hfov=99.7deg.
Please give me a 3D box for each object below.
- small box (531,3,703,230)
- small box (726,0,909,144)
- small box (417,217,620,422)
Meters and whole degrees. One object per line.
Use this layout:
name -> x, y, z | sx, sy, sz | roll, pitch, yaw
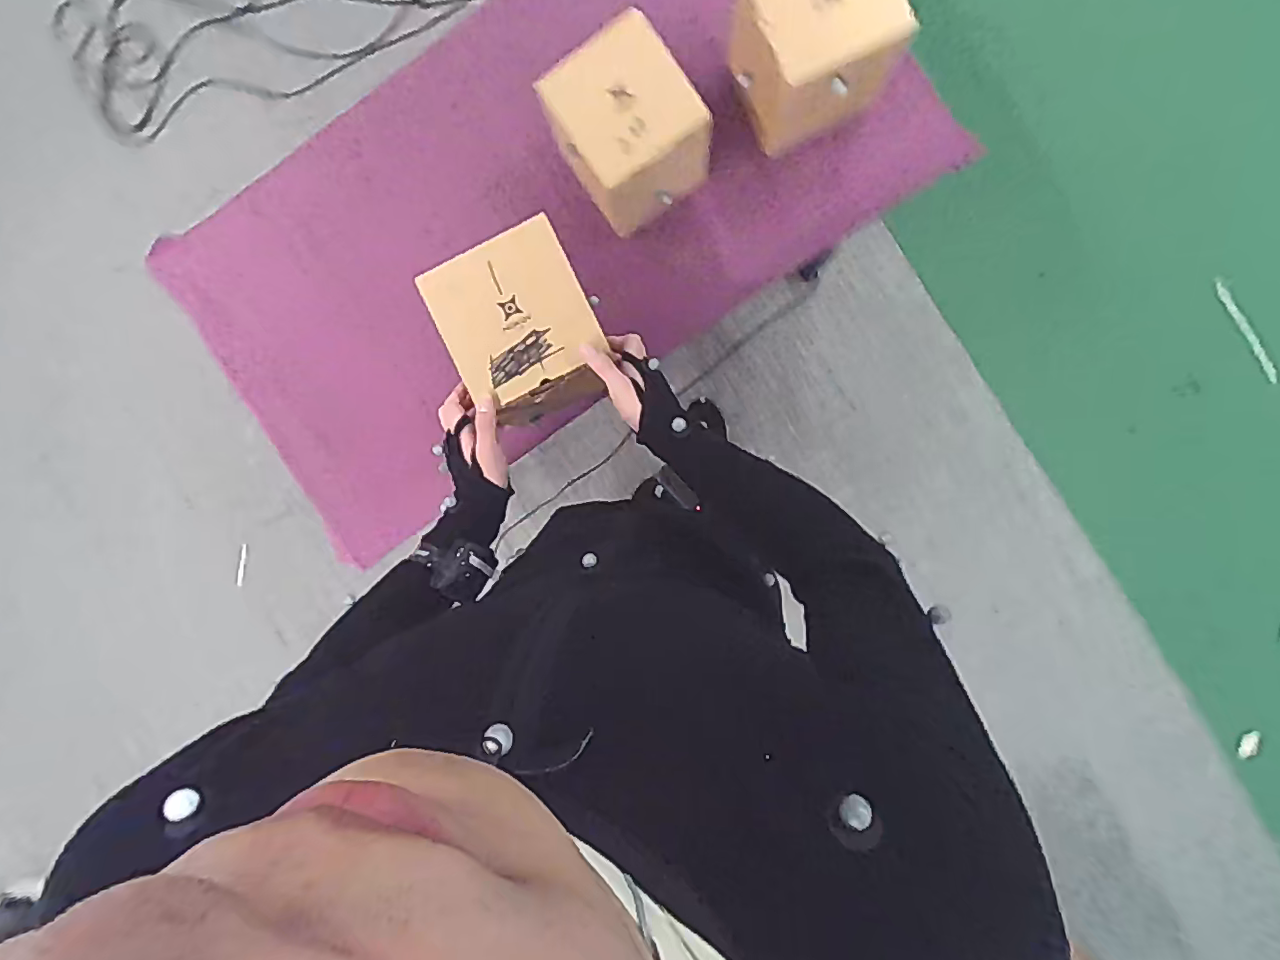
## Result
small box -> -0.026, -0.506, 0.783 | 0.168, 0.176, 0.179 | -35, 90, 6
small box -> 0.234, -0.624, 0.758 | 0.179, 0.176, 0.168 | -24, 92, 7
small box -> -0.135, -0.180, 0.673 | 0.168, 0.176, 0.179 | -25, 90, 3
